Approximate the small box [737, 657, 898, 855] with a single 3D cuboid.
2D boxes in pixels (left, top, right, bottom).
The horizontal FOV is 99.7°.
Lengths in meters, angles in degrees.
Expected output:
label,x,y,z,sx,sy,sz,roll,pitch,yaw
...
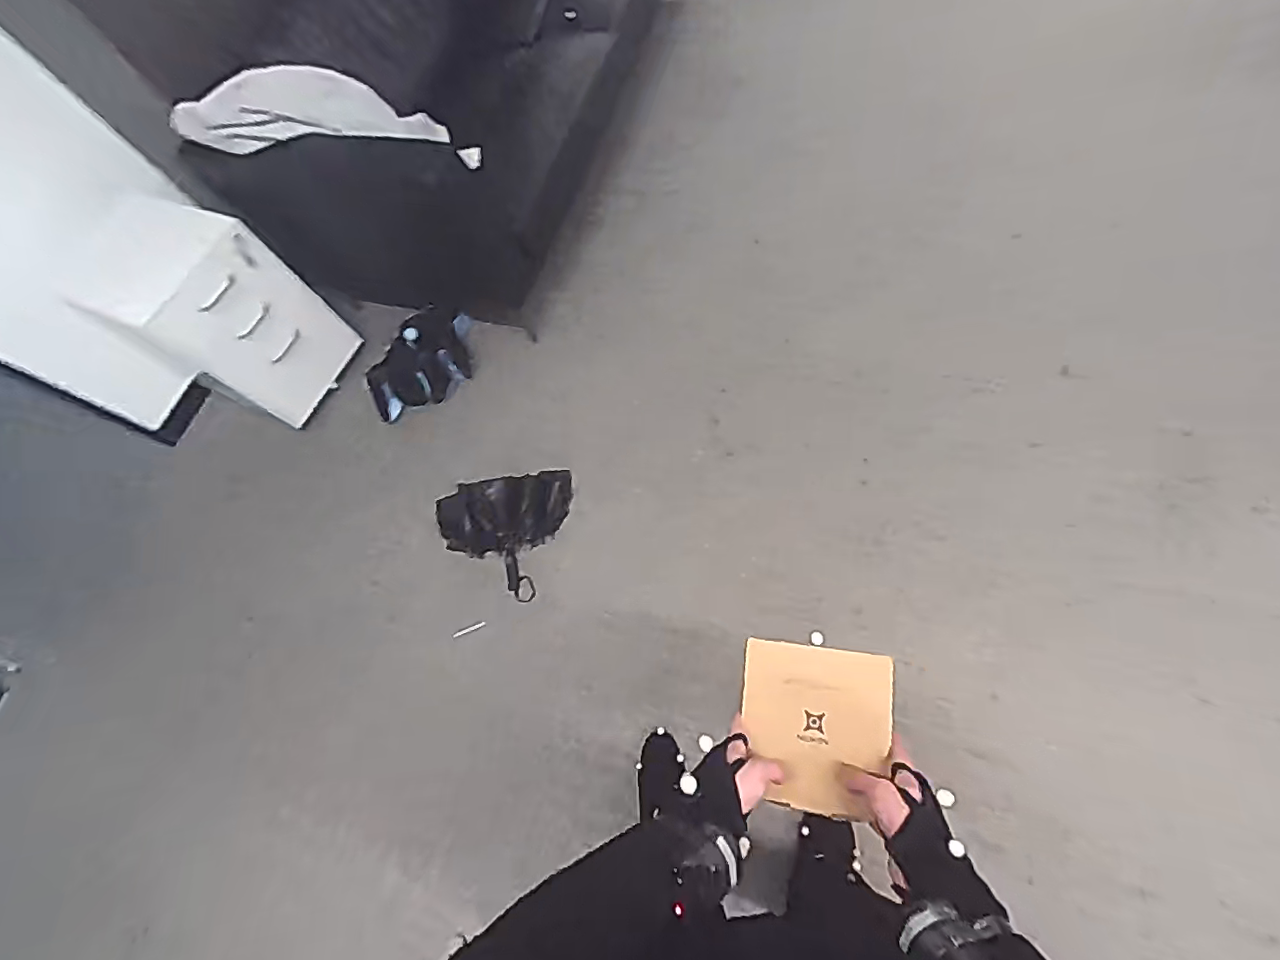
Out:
label,x,y,z,sx,sy,sz,roll,pitch,yaw
small box,0.209,0.318,0.664,0.168,0.176,0.179,2,73,12
